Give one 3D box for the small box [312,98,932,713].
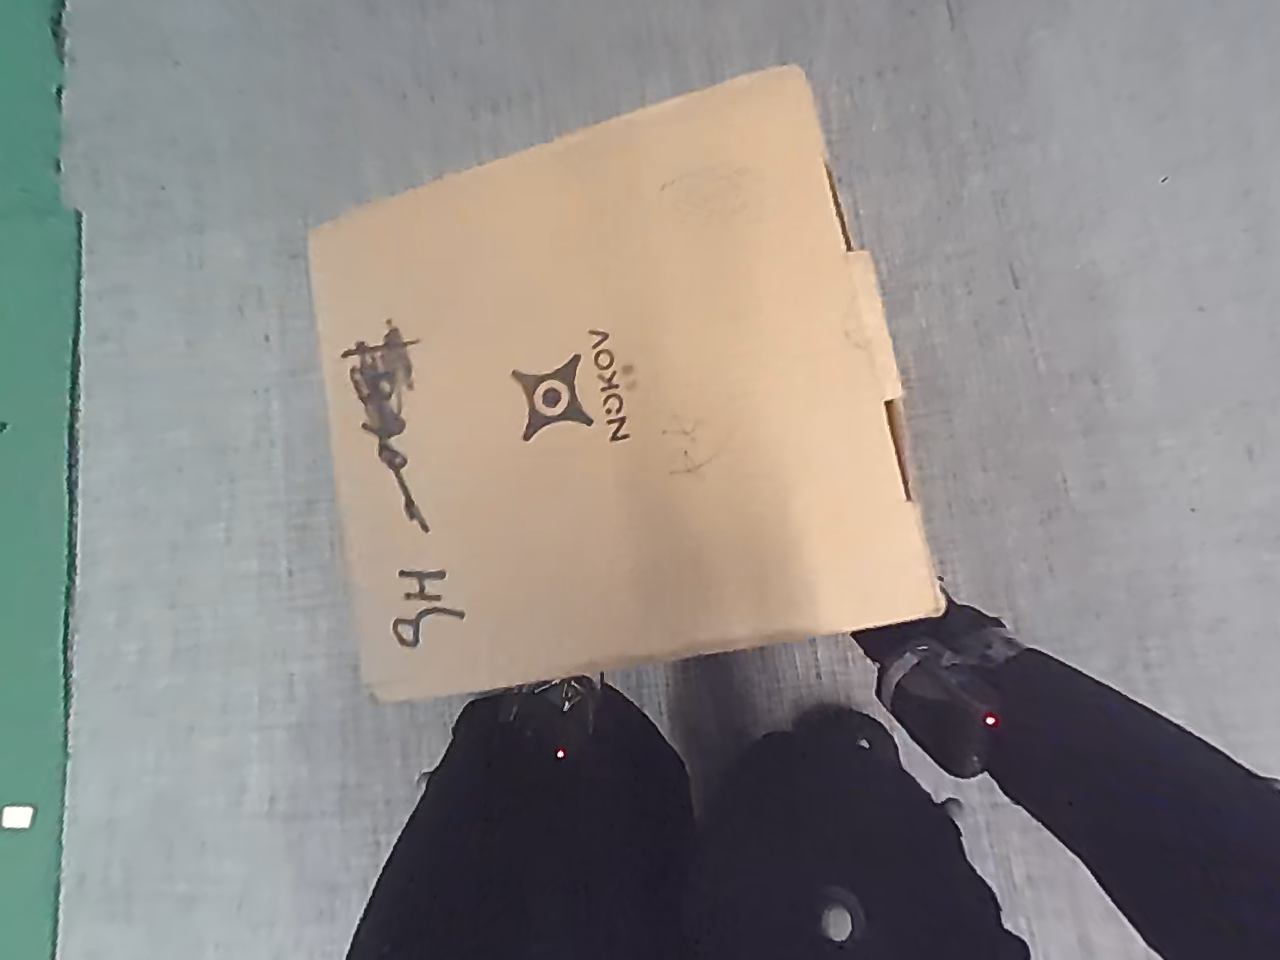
[{"bbox_3d":[-0.004,-0.015,0.247,0.179,0.176,0.168,-12,83,9],"label":"small box"}]
